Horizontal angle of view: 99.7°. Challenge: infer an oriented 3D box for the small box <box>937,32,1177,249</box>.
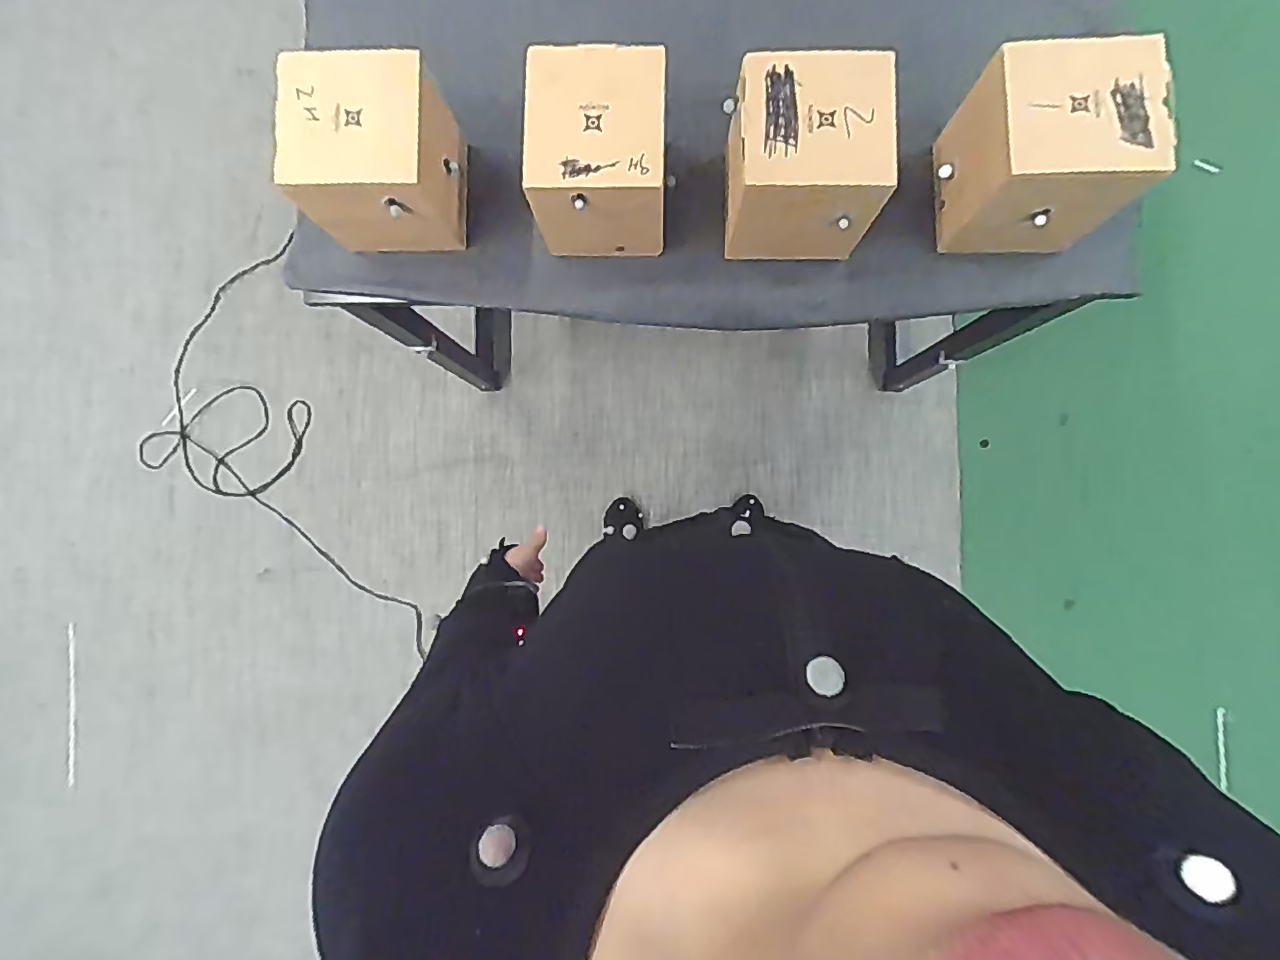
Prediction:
[{"bbox_3d":[0.499,-0.406,0.672,0.179,0.176,0.168,1,84,4],"label":"small box"}]
